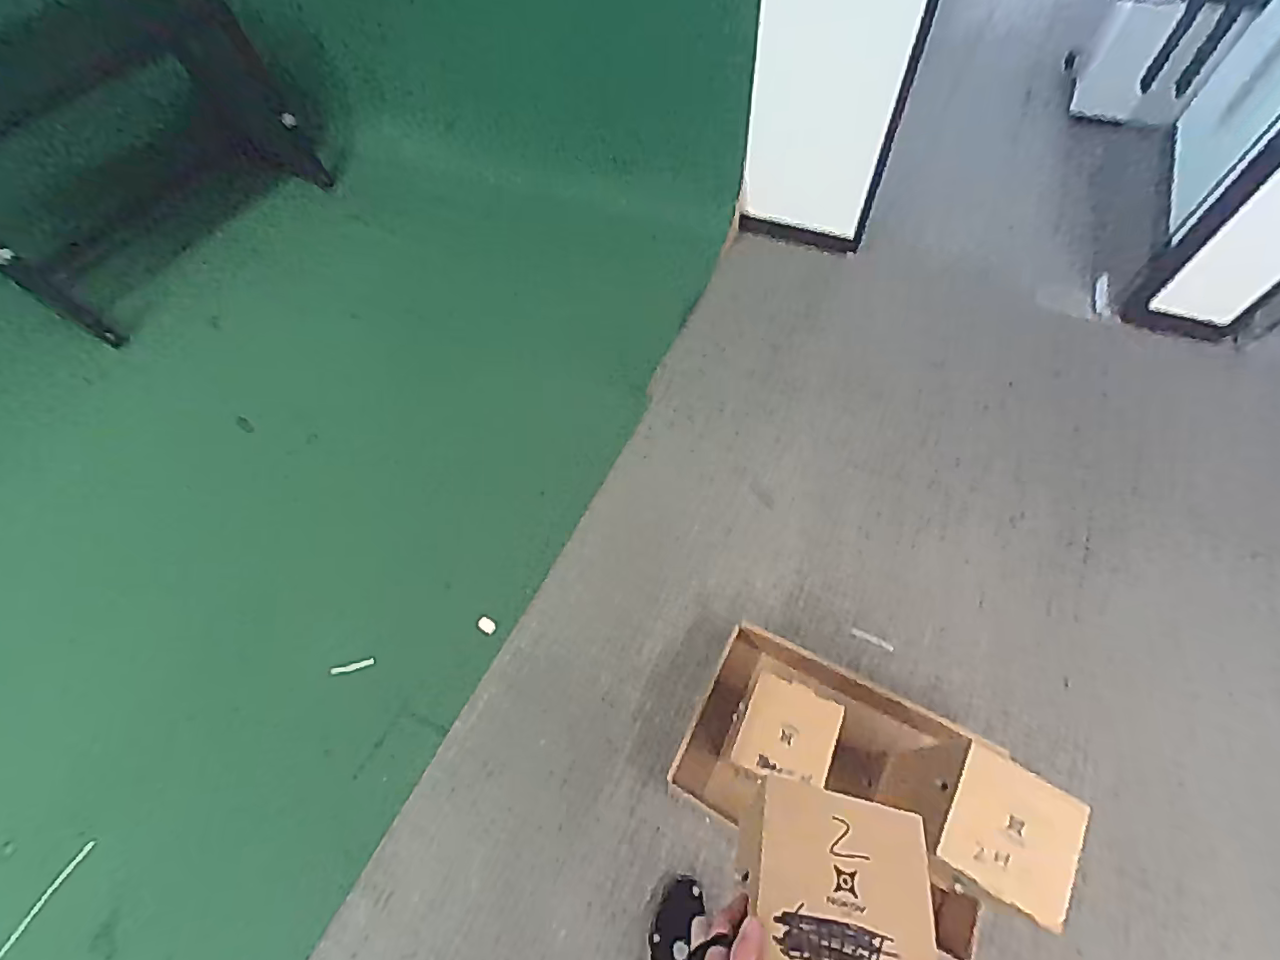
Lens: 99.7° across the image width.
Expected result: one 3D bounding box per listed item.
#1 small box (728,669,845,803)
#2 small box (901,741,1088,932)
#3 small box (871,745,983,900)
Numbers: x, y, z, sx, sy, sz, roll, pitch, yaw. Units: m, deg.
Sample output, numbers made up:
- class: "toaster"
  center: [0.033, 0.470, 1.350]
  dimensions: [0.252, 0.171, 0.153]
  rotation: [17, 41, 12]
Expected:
- class: "small box"
  center: [0.279, 0.504, 1.062]
  dimensions: [0.168, 0.176, 0.179]
  rotation: [21, 64, 17]
- class: "small box"
  center: [0.535, 0.534, 0.838]
  dimensions: [0.168, 0.176, 0.179]
  rotation: [28, 68, 18]
- class: "small box"
  center: [0.548, 0.611, 0.985]
  dimensions: [0.168, 0.176, 0.179]
  rotation: [28, 68, 17]
